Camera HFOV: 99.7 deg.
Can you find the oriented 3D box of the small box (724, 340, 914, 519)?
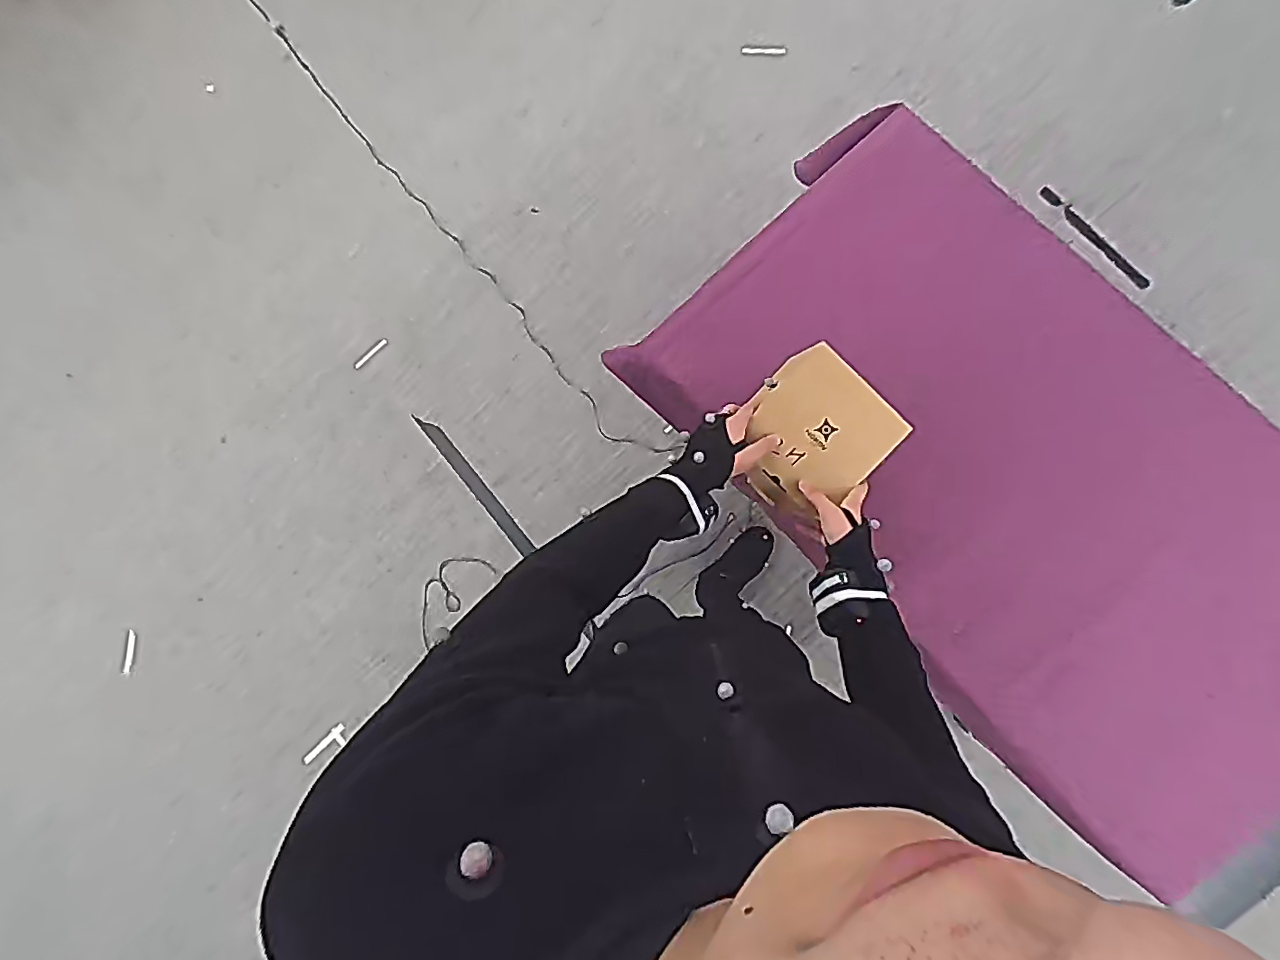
[{"bbox_3d":[0.241,-0.071,0.780,0.168,0.176,0.179,43,95,-2],"label":"small box"}]
